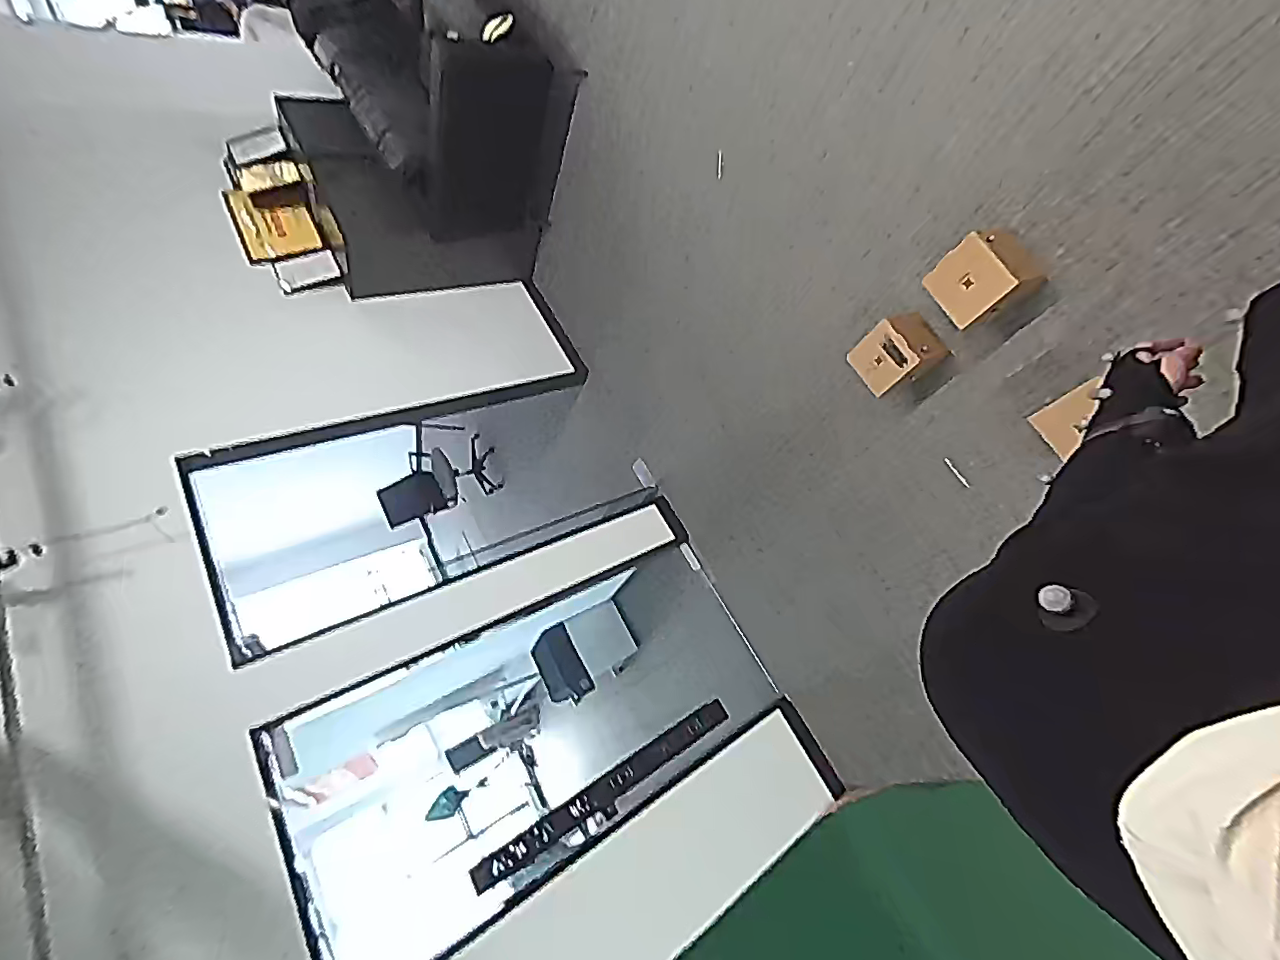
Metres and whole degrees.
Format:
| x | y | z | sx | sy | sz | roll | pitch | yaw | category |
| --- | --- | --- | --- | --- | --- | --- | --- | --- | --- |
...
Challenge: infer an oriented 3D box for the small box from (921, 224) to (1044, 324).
| x | y | z | sx | sy | sz | roll | pitch | yaw | category |
| --- | --- | --- | --- | --- | --- | --- | --- | --- | --- |
| 0.875 | -0.531 | 1.379 | 0.179 | 0.176 | 0.168 | 61 | 148 | 16 | small box |

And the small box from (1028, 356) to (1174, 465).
| x | y | z | sx | sy | sz | roll | pitch | yaw | category |
| --- | --- | --- | --- | --- | --- | --- | --- | --- | --- |
| 1.078 | -0.163 | 1.266 | 0.168 | 0.176 | 0.179 | 60 | 148 | 16 | small box |
